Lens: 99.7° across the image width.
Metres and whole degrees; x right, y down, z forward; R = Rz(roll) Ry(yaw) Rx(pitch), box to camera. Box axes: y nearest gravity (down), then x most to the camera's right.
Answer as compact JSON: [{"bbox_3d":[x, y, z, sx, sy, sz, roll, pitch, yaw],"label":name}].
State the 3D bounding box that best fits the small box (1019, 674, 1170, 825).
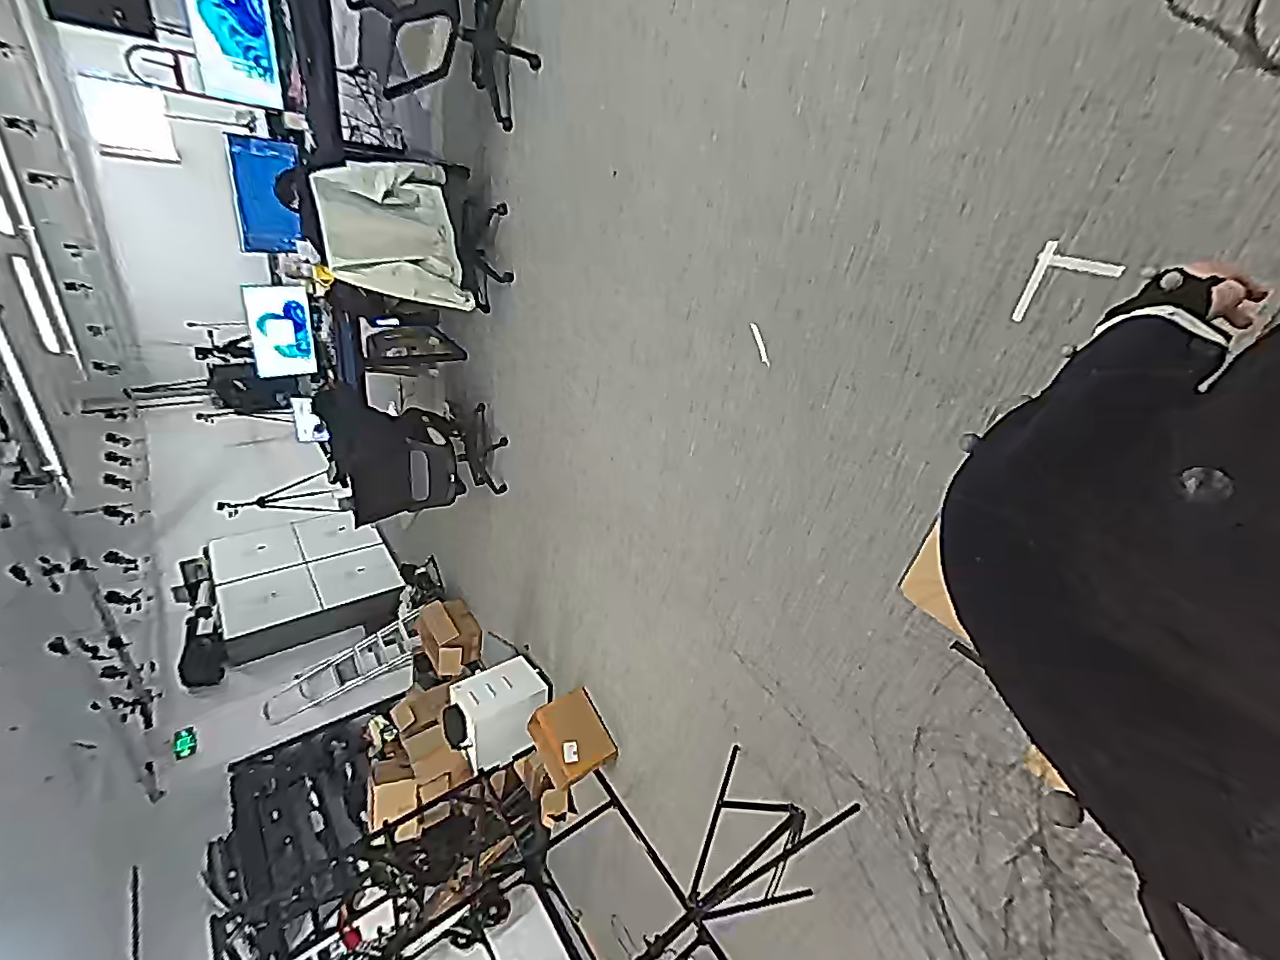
[{"bbox_3d":[0.917,0.534,1.091,0.168,0.176,0.179,33,127,40],"label":"small box"}]
